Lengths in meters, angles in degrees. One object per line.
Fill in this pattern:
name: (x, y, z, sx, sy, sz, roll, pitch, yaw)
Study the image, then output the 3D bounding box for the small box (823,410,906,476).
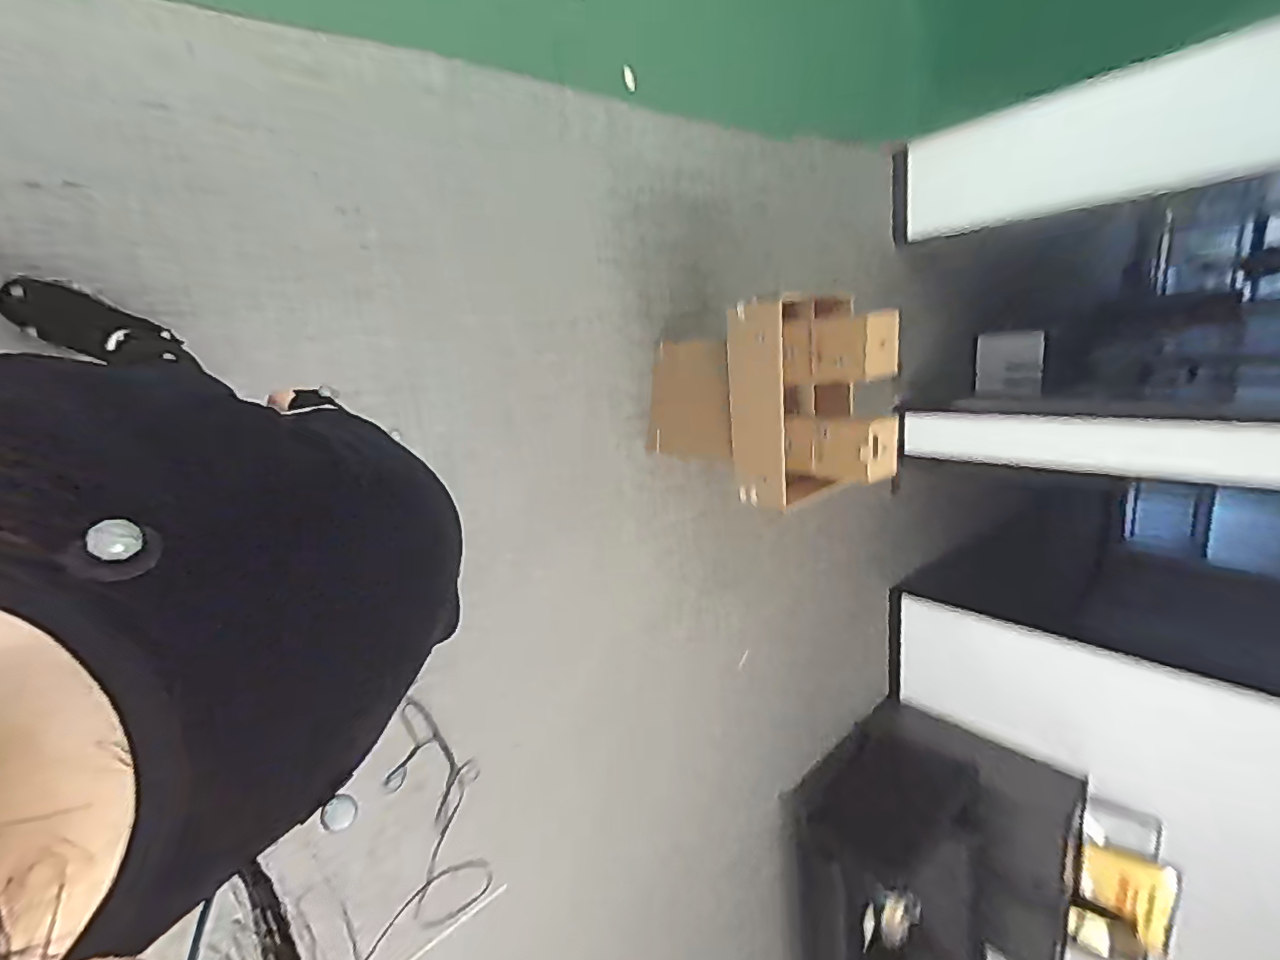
small box: (0.651, -0.113, 1.574, 0.179, 0.176, 0.168, -14, 107, -38)

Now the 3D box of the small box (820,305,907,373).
small box: (0.614, -0.387, 1.494, 0.179, 0.176, 0.168, -16, 109, -38)
